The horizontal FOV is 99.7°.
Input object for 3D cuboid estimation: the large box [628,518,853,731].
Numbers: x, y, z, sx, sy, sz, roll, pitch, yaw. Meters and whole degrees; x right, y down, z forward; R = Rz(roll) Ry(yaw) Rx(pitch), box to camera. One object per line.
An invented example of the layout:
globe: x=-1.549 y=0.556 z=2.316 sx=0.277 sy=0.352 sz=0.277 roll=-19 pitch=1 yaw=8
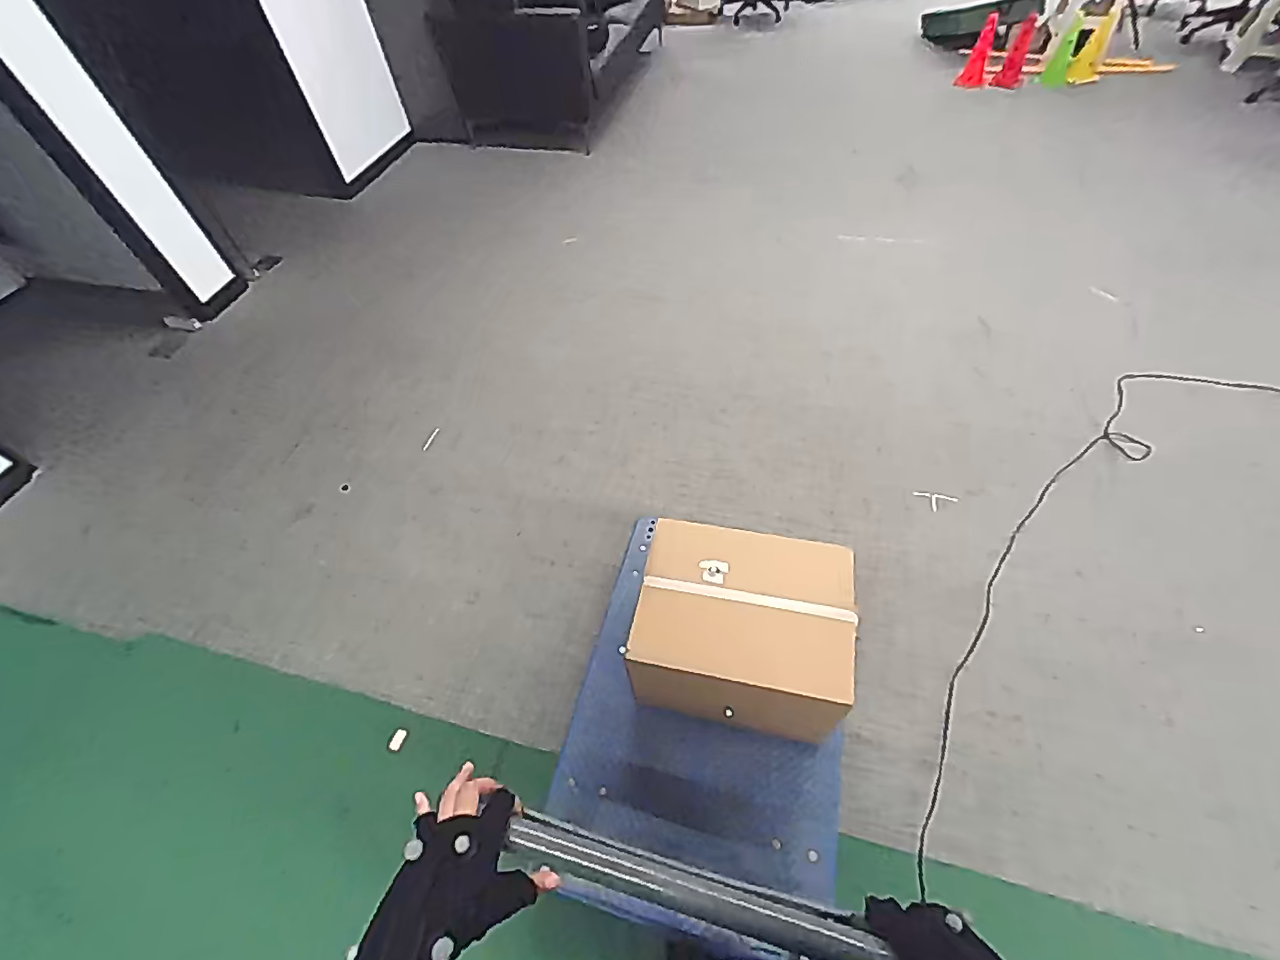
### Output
large box: x=0.215 y=0.313 z=1.162 sx=0.408 sy=0.320 sz=0.320 roll=7 pitch=53 yaw=11
